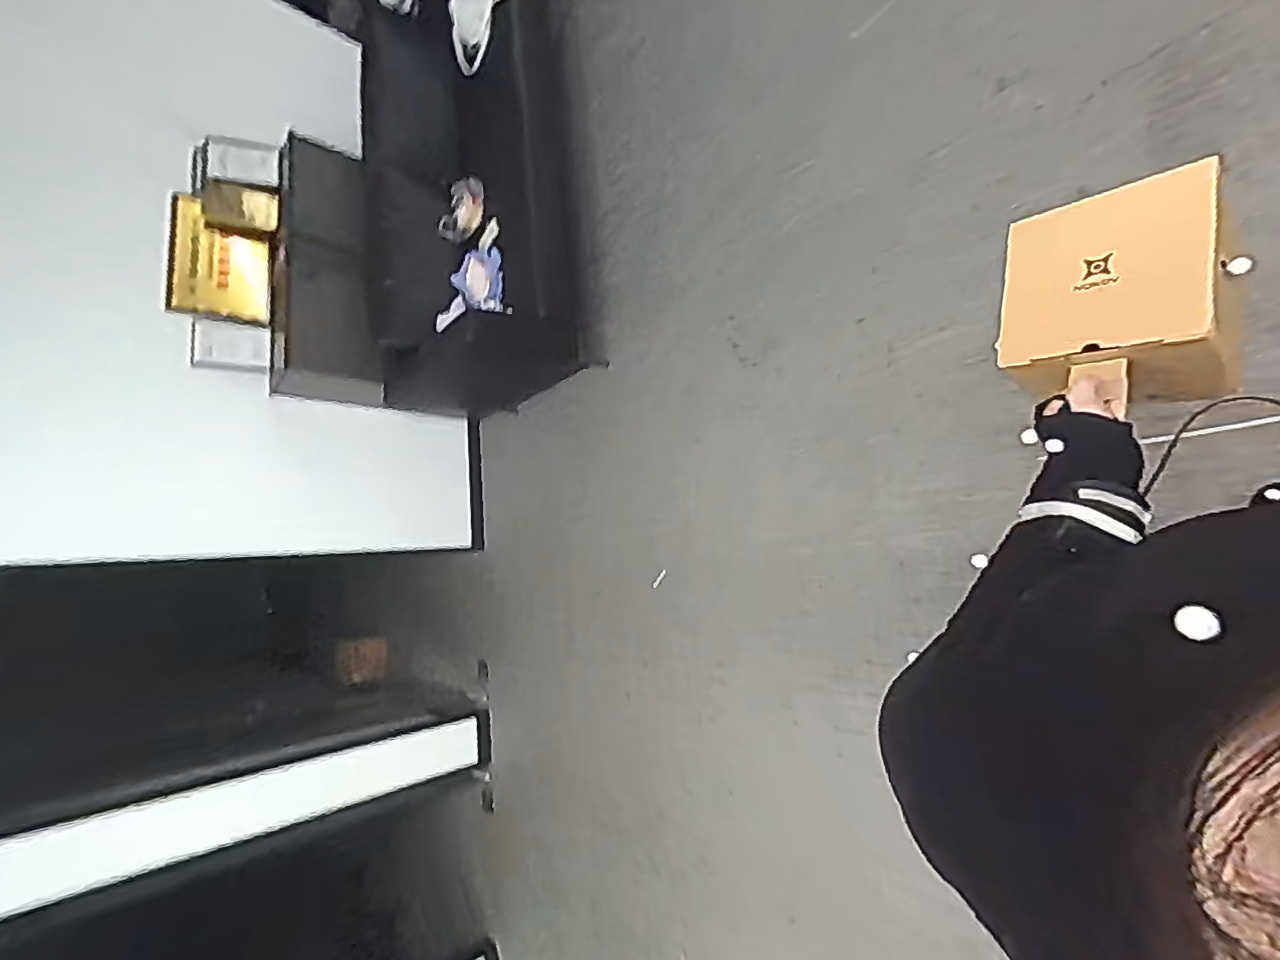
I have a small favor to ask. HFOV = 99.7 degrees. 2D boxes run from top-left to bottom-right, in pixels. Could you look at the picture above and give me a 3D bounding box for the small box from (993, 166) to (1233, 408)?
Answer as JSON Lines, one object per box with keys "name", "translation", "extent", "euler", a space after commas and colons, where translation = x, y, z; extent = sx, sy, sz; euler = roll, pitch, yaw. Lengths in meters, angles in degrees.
{"name": "small box", "translation": [0.524, -0.193, 0.599], "extent": [0.168, 0.176, 0.179], "euler": [2, 79, 53]}
